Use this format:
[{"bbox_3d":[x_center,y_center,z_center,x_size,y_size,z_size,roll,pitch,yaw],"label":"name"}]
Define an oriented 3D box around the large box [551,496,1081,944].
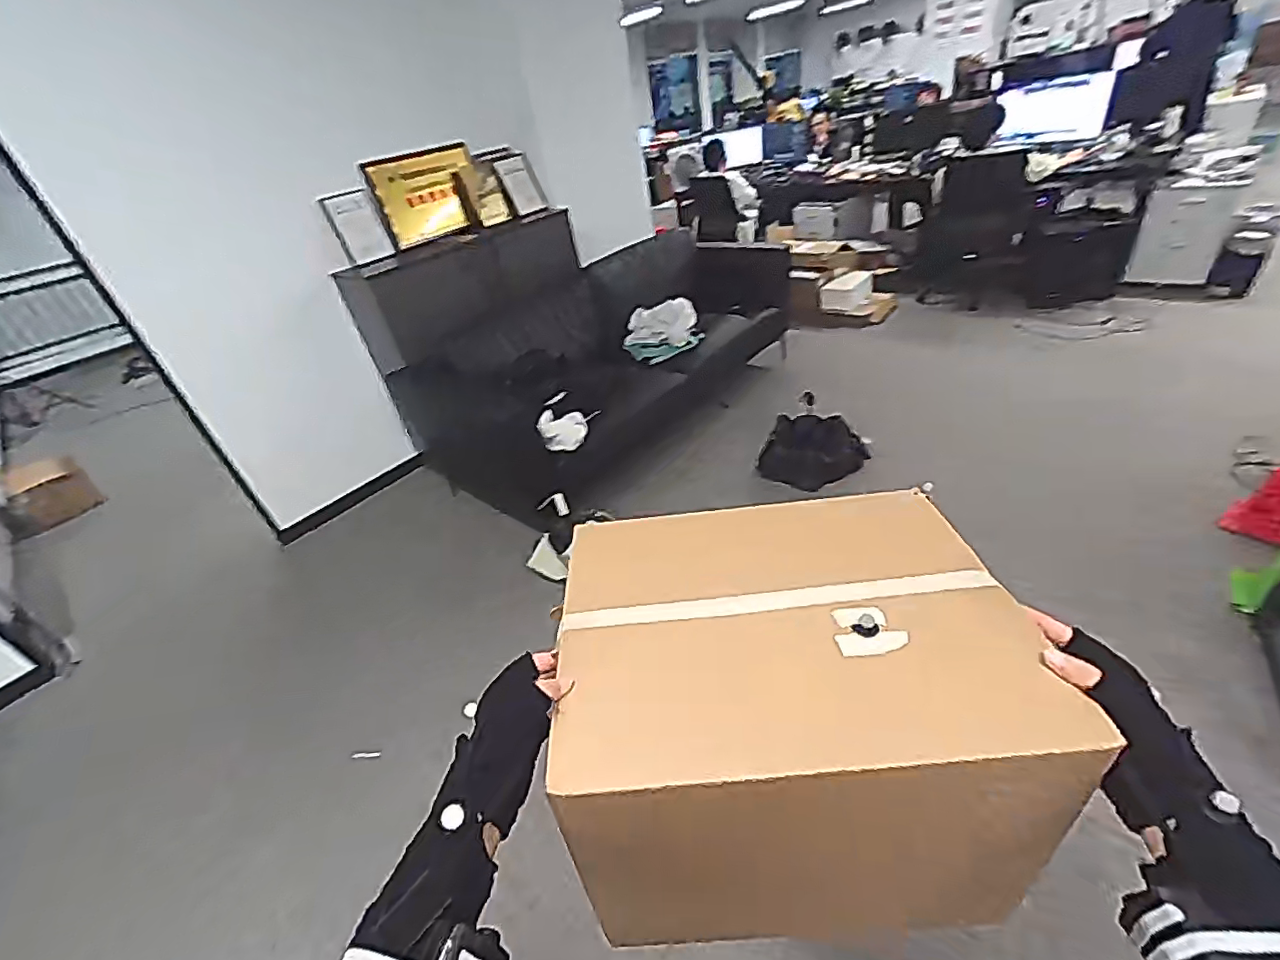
[{"bbox_3d":[0.135,0.249,0.599,0.408,0.320,0.320,-7,33,1],"label":"large box"}]
